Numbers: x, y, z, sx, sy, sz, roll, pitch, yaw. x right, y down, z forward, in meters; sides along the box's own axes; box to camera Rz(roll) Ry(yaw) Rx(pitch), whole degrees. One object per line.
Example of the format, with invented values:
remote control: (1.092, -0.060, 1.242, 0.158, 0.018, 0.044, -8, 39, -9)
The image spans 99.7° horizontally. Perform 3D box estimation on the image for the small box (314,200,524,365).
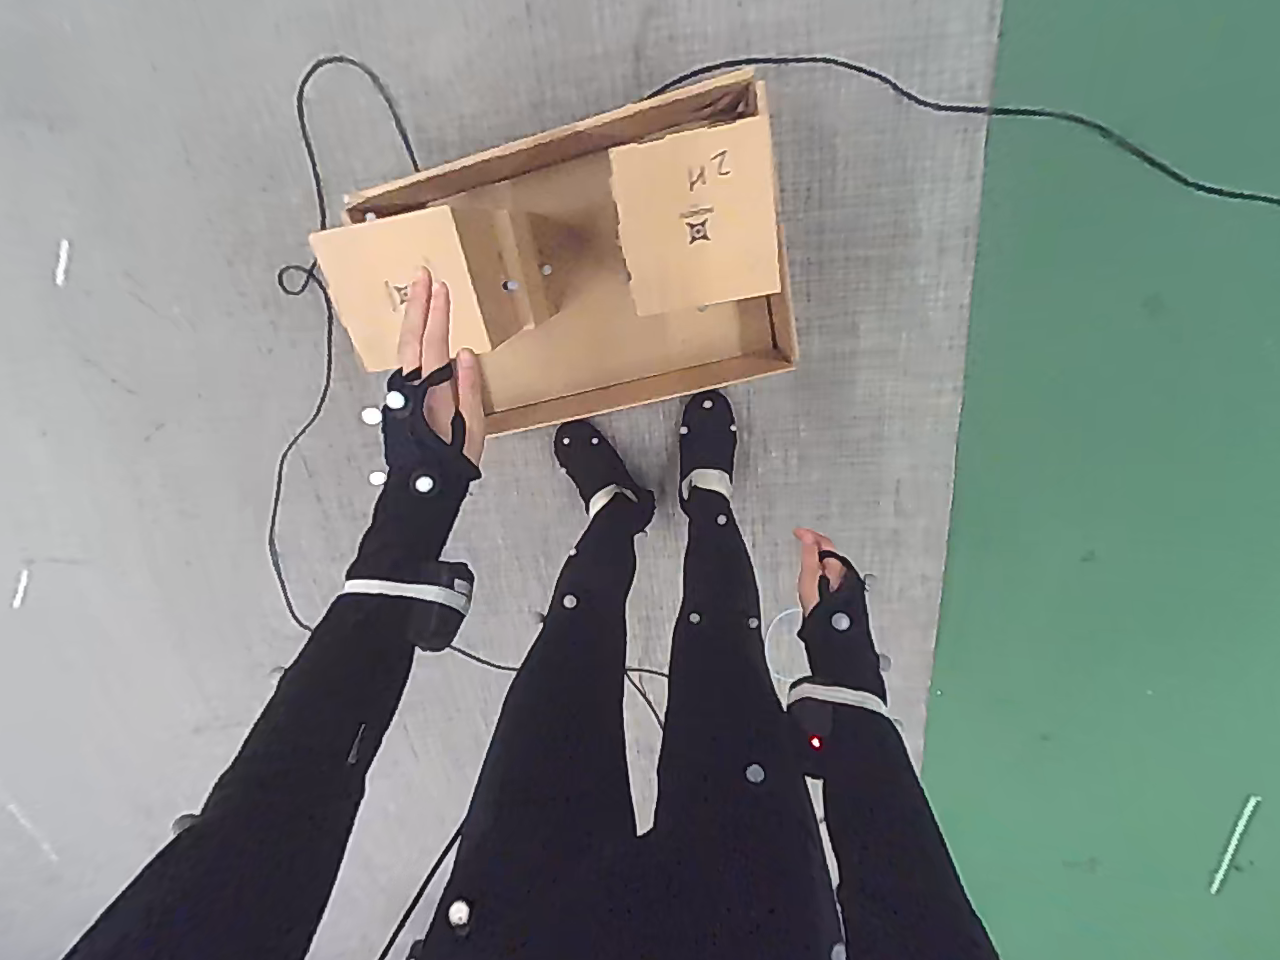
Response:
small box: (-0.271, -0.259, 0.708, 0.179, 0.176, 0.168, -7, 114, 6)

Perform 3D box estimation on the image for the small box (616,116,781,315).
small box: (0.072, -0.312, 0.659, 0.168, 0.176, 0.179, -8, 112, 6)
